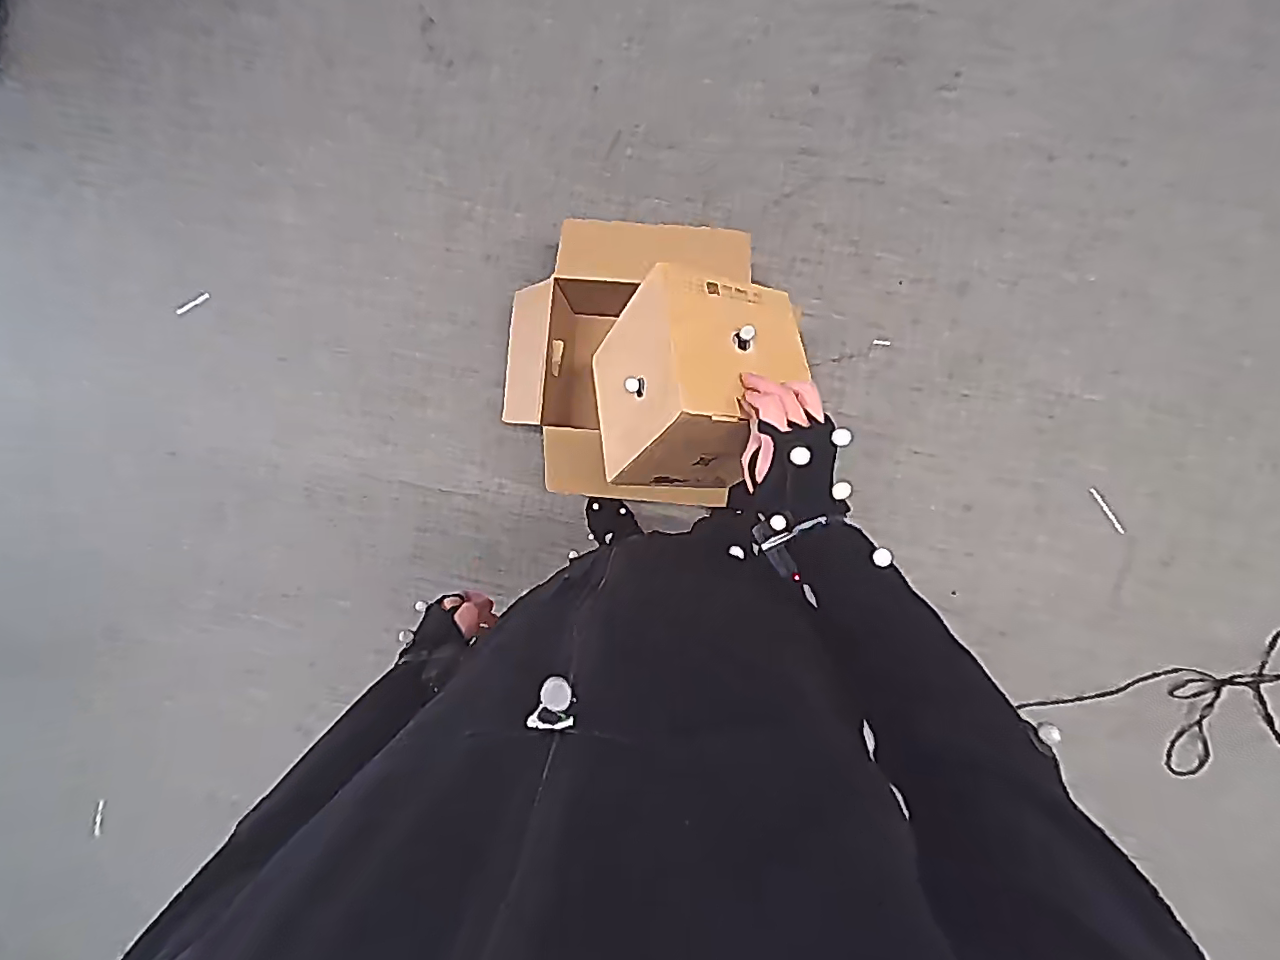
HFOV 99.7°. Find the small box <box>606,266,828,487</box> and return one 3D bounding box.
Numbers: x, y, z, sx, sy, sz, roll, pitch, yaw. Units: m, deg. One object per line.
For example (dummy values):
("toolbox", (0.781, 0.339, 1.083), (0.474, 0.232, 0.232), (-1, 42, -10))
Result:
("small box", (0.070, -0.104, 0.600), (0.168, 0.179, 0.176), (4, 66, -27))
